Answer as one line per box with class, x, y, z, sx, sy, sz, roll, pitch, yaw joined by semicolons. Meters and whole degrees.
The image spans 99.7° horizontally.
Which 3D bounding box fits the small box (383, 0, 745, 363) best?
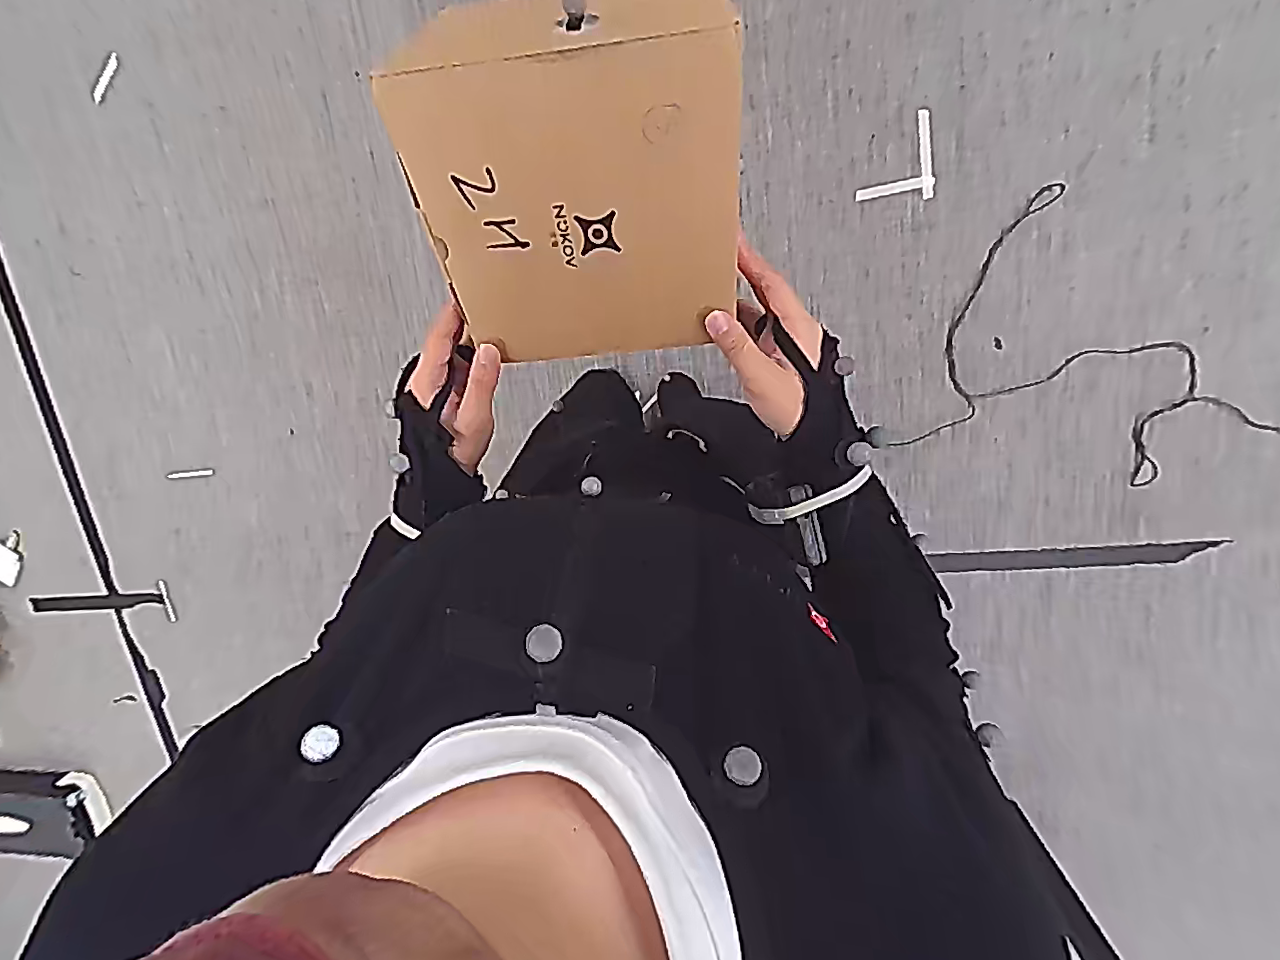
small box;-0.031;-0.202;0.362;0.179;0.176;0.168;-4;138;5
